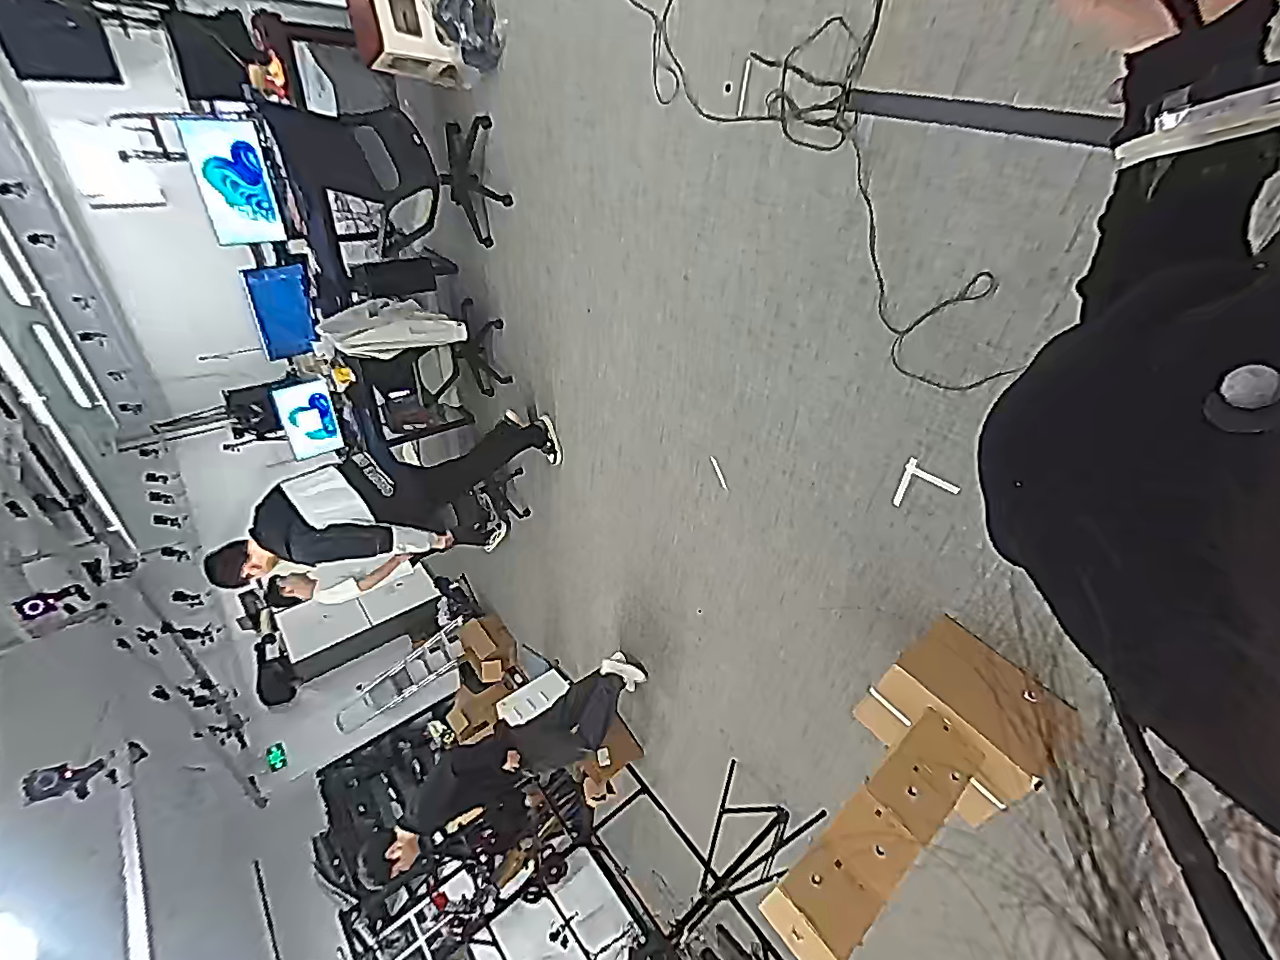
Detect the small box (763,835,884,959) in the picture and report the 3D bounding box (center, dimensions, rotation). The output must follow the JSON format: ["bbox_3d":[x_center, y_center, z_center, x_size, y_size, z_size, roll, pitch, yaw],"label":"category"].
[{"bbox_3d":[0.404,0.928,1.186,0.168,0.176,0.179,41,141,35],"label":"small box"}]

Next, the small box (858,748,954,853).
[{"bbox_3d":[0.654,0.816,1.361,0.168,0.176,0.179,42,139,32],"label":"small box"}]

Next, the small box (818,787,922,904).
[{"bbox_3d":[0.528,0.868,1.272,0.168,0.176,0.179,40,140,34],"label":"small box"}]
